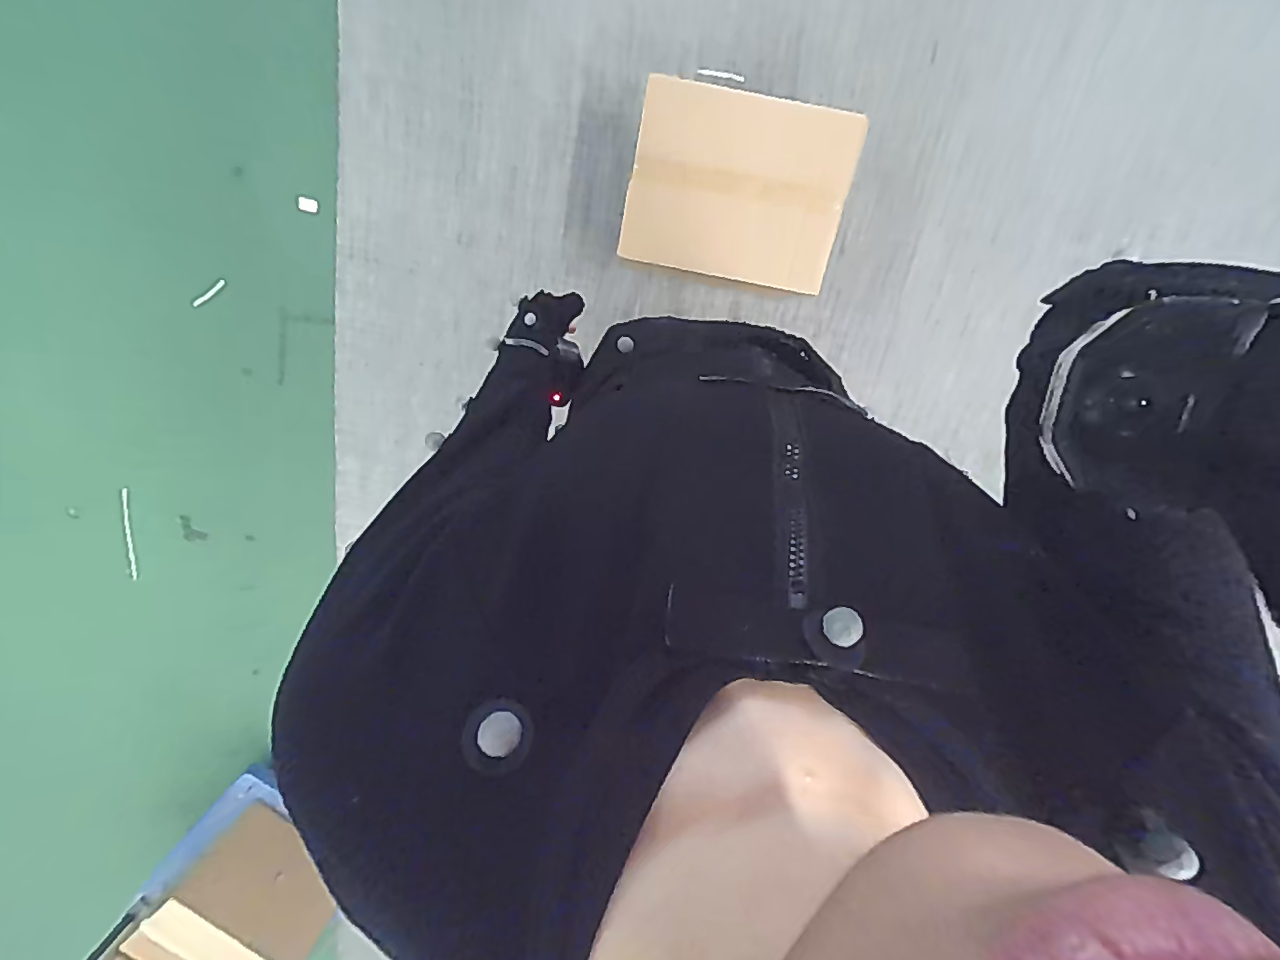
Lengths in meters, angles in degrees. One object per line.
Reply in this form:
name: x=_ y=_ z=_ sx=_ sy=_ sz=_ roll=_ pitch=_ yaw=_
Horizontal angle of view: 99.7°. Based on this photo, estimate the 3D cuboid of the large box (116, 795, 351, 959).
large box: x=-1.189 y=1.256 z=1.623 sx=0.320 sy=0.320 sz=0.408 roll=-42 pitch=101 yaw=15
